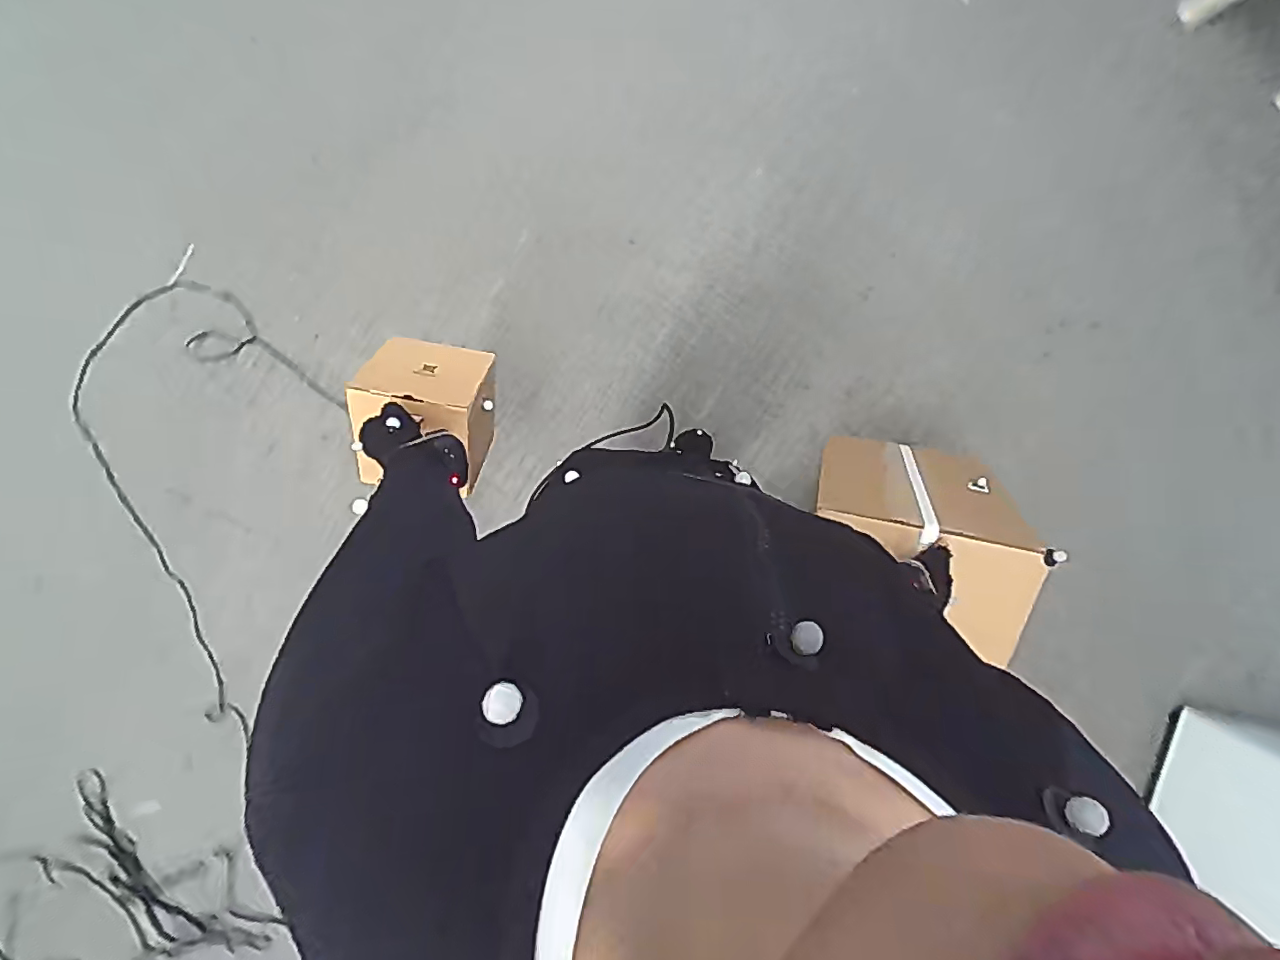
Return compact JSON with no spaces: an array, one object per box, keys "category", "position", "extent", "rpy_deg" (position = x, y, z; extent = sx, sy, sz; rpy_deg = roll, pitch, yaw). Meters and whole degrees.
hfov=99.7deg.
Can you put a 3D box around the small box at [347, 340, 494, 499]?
[{"category":"small box","position":[-0.337,-0.096,0.861],"extent":[0.168,0.179,0.176],"rpy_deg":[8,129,-6]}]
